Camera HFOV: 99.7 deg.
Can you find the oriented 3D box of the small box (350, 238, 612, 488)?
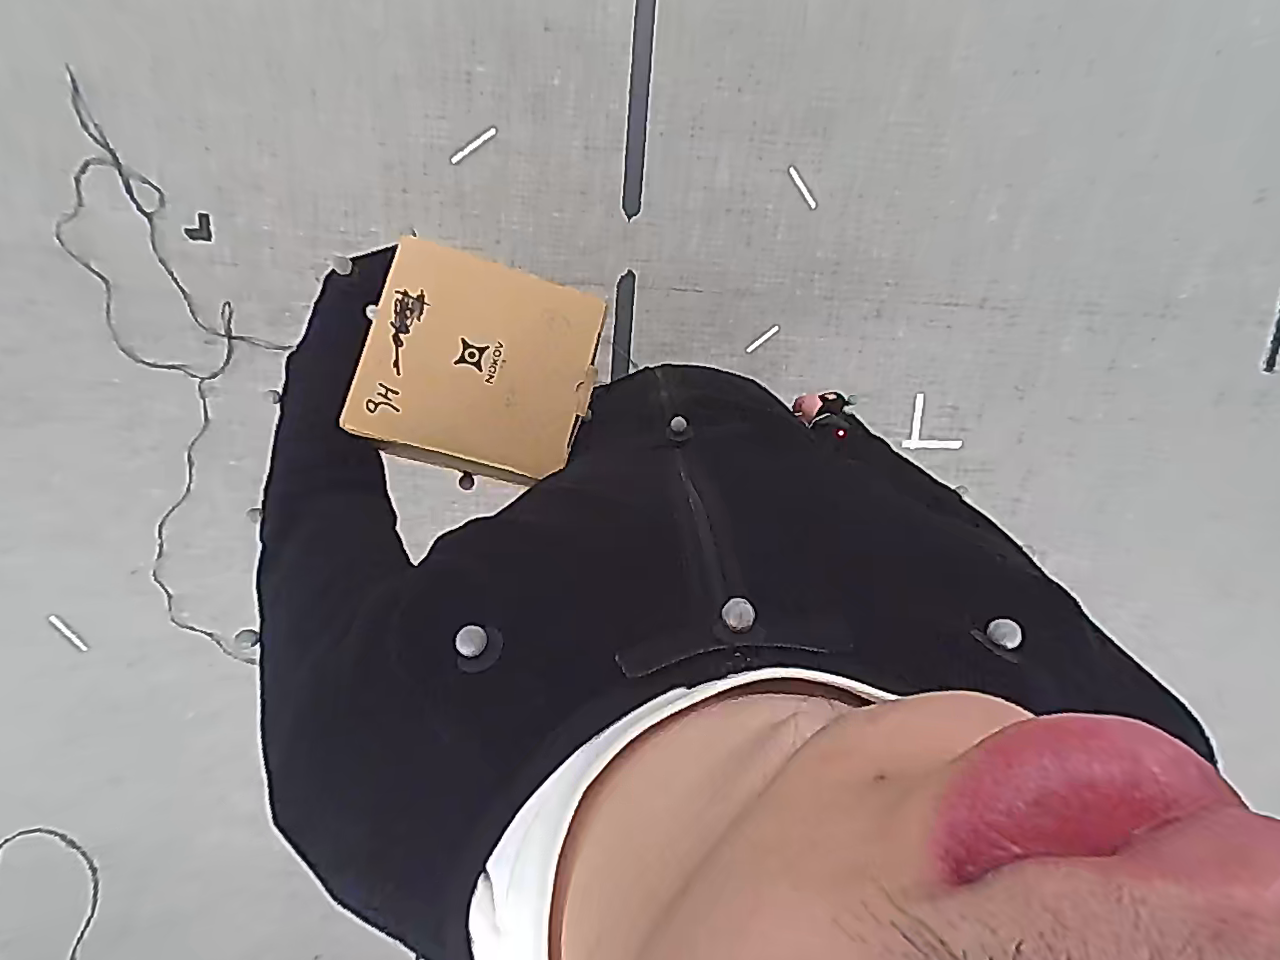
[{"bbox_3d":[-0.143,-0.092,0.523,0.179,0.176,0.168,15,81,-11],"label":"small box"}]
